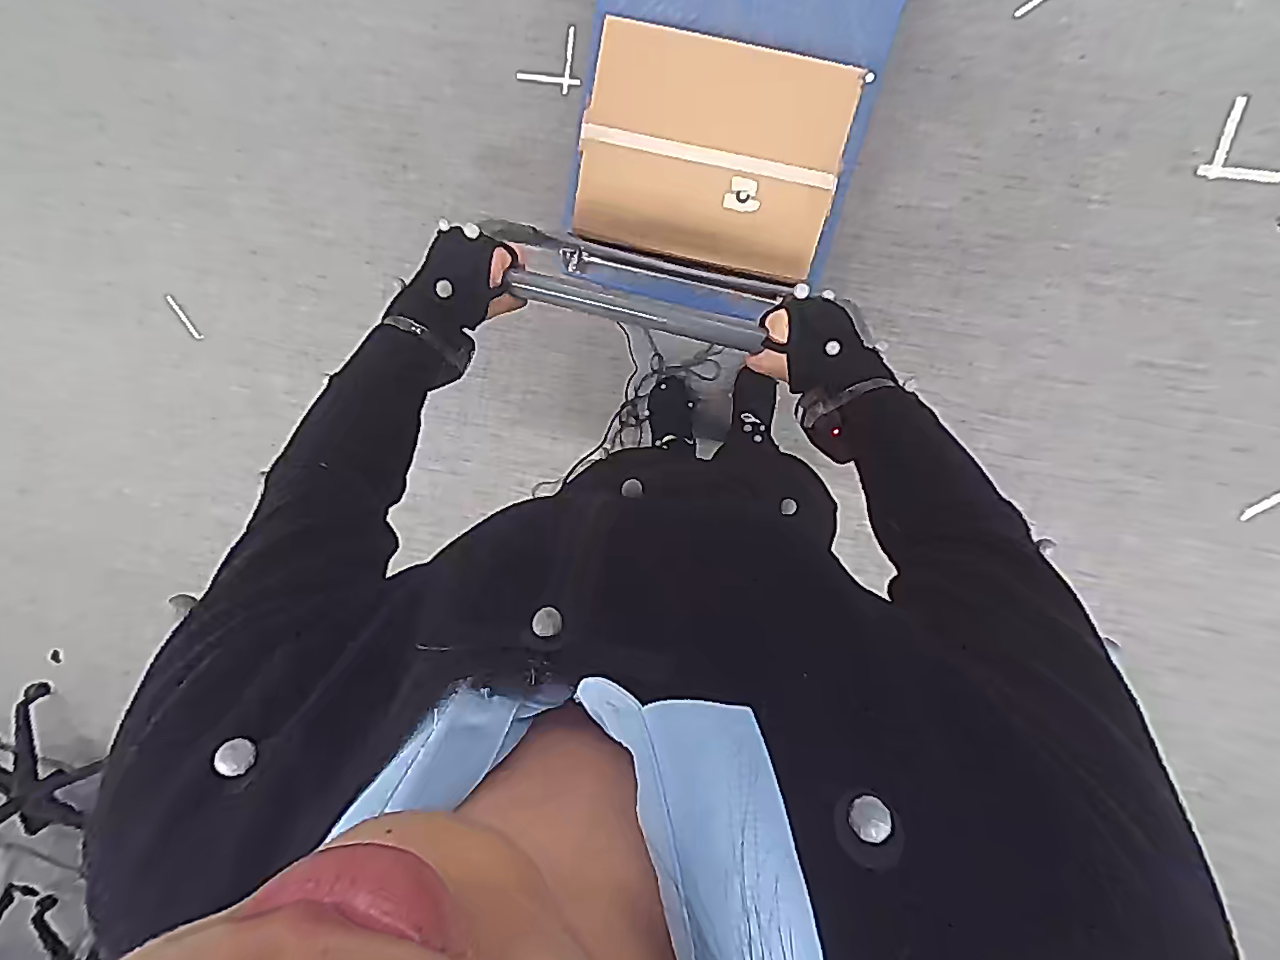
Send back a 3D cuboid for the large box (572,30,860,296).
[{"bbox_3d":[0.119,-0.542,0.997,0.408,0.320,0.320,13,109,1],"label":"large box"}]
